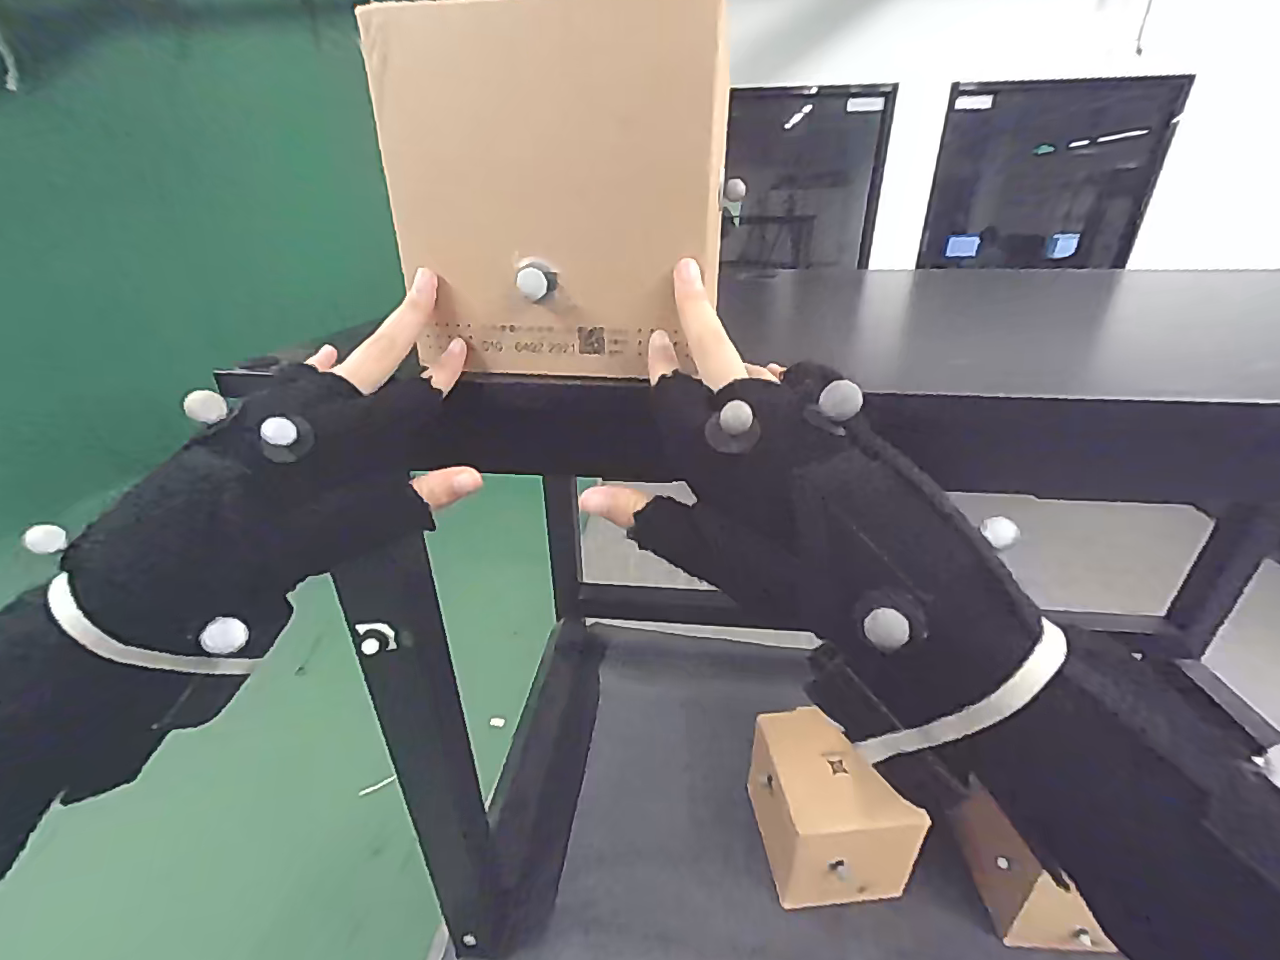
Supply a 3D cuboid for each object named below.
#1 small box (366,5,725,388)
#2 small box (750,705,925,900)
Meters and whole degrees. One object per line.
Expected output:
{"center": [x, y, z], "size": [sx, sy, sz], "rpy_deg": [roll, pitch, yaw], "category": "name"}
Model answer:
{"center": [-0.036, -0.167, 0.347], "size": [0.168, 0.176, 0.179], "rpy_deg": [3, 27, 9], "category": "small box"}
{"center": [0.257, 0.446, 0.750], "size": [0.168, 0.176, 0.179], "rpy_deg": [-3, 26, -4], "category": "small box"}
